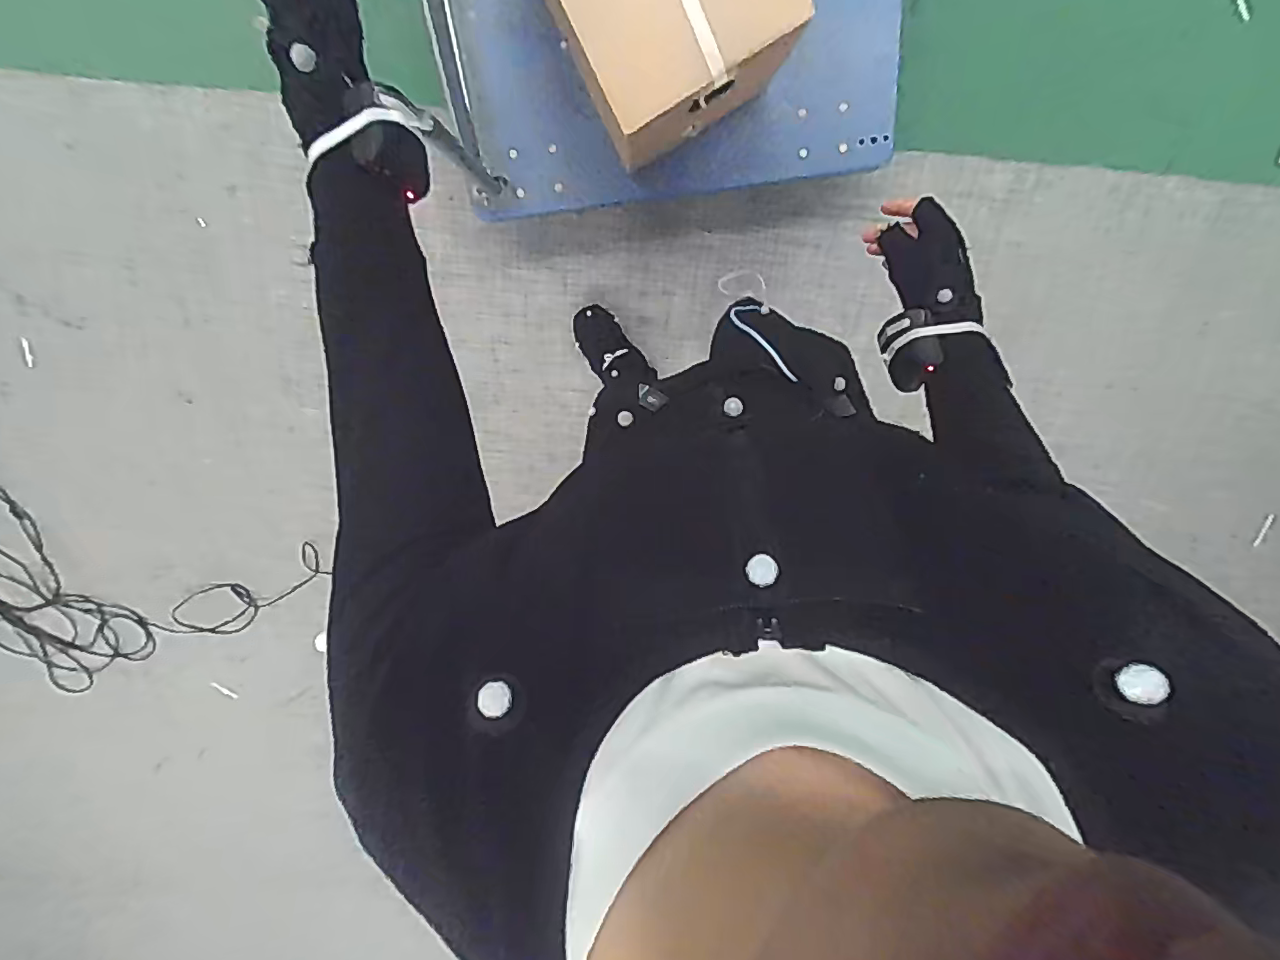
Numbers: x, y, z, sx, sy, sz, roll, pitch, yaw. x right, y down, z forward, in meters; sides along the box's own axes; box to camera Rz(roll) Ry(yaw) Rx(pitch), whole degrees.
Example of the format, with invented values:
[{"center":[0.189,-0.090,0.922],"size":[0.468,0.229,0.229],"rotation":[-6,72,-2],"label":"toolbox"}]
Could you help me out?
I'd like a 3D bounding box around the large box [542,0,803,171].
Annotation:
[{"center":[0.011,-0.805,0.880],"size":[0.320,0.320,0.408],"rotation":[-27,107,9],"label":"large box"}]
